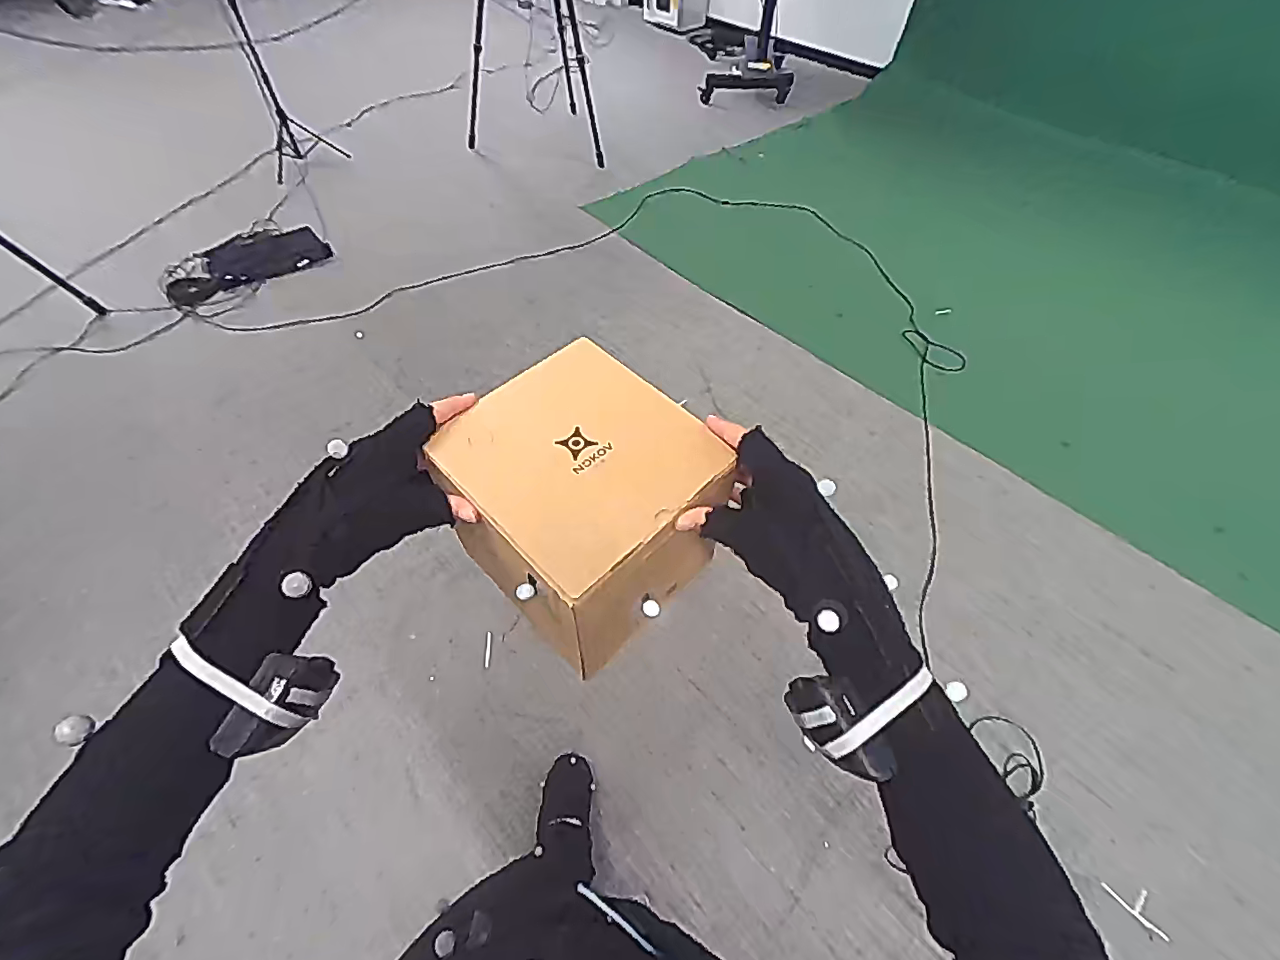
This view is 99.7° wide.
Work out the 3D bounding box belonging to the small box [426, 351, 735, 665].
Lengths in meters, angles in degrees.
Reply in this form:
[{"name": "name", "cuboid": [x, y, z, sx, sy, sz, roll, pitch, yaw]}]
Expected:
[{"name": "small box", "cuboid": [-0.050, 0.028, 0.469, 0.179, 0.176, 0.168, 40, 61, 22]}]
